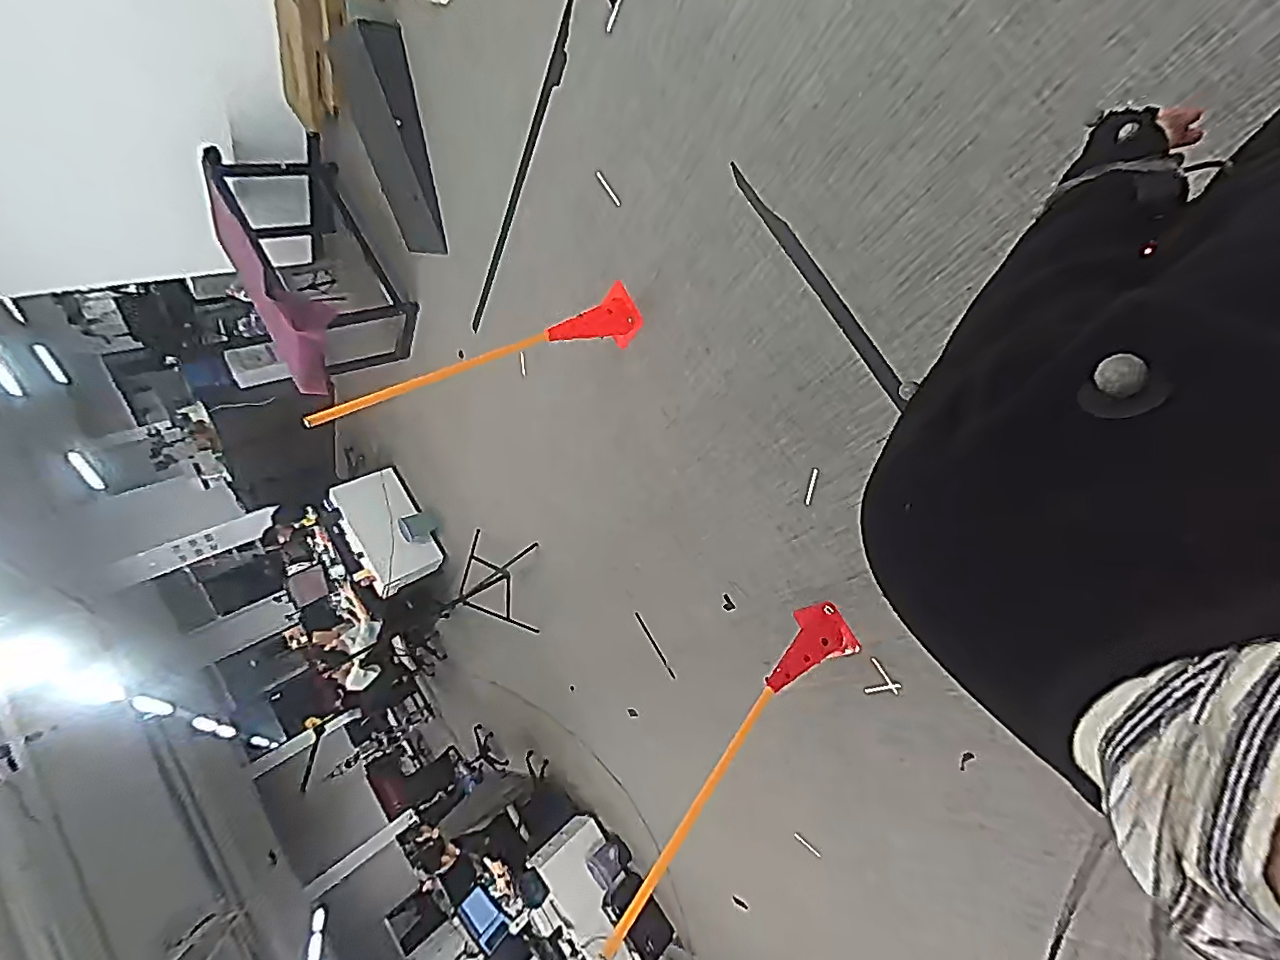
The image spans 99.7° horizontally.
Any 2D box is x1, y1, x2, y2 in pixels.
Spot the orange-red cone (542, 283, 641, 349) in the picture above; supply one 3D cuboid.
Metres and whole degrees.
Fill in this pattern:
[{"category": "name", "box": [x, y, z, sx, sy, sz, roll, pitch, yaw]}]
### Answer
[{"category": "orange-red cone", "box": [-0.207, -0.576, 2.005, 0.199, 0.360, 0.198, 60, 143, 5]}]
